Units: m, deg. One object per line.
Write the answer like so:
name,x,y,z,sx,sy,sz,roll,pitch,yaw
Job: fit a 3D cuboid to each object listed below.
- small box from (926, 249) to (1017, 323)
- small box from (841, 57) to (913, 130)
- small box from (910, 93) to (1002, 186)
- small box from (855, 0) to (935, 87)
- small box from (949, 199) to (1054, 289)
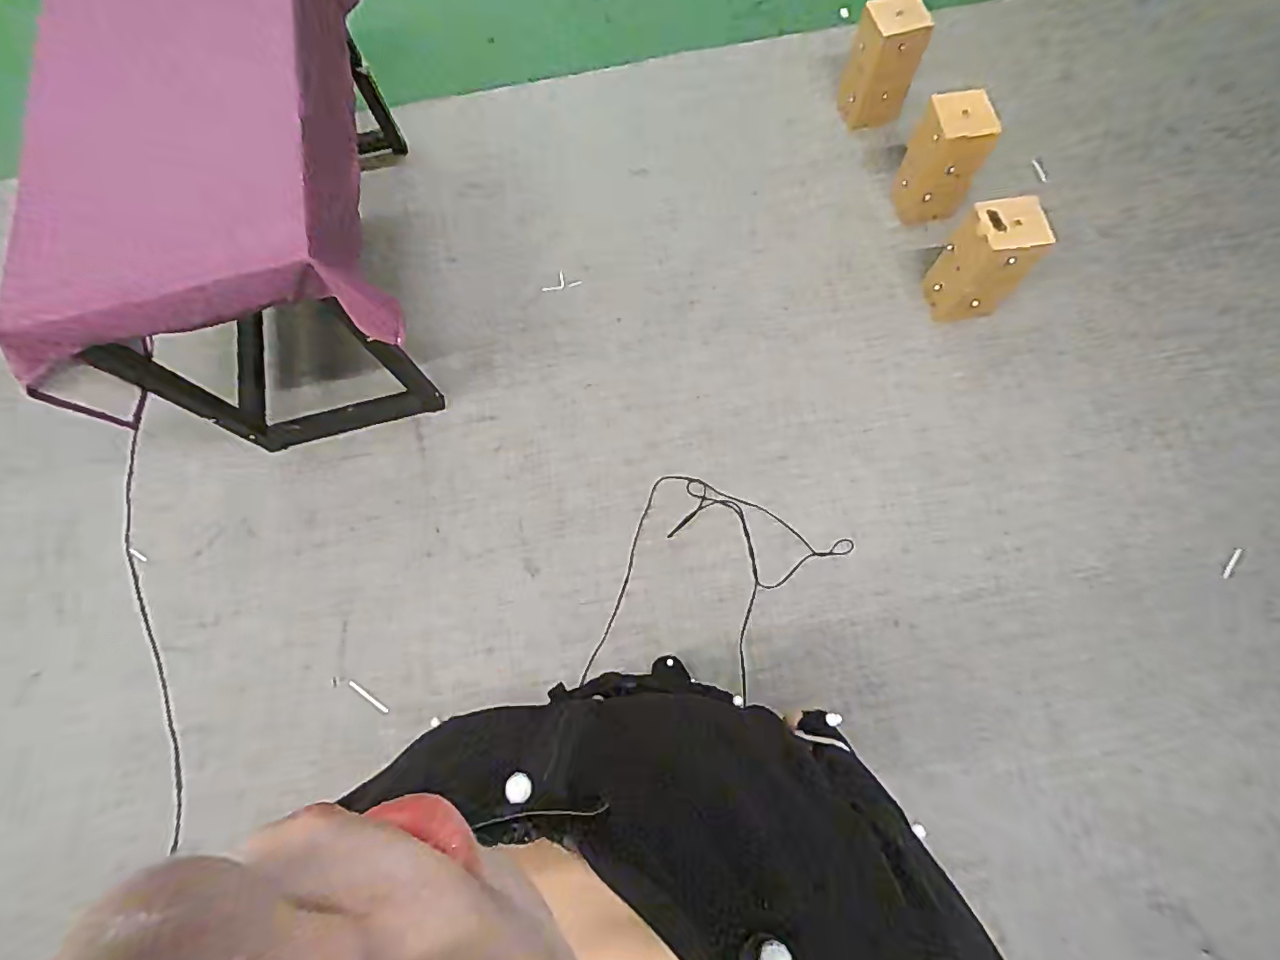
small box,1.031,-0.617,1.704,0.179,0.176,0.168,-8,73,1
small box,0.851,-1.412,1.967,0.179,0.176,0.168,-12,73,-2
small box,0.965,-1.050,1.673,0.168,0.176,0.179,-7,72,0
small box,0.841,-1.463,1.811,0.179,0.176,0.168,-13,73,-2
small box,1.019,-0.668,1.547,0.179,0.176,0.168,-7,72,0
